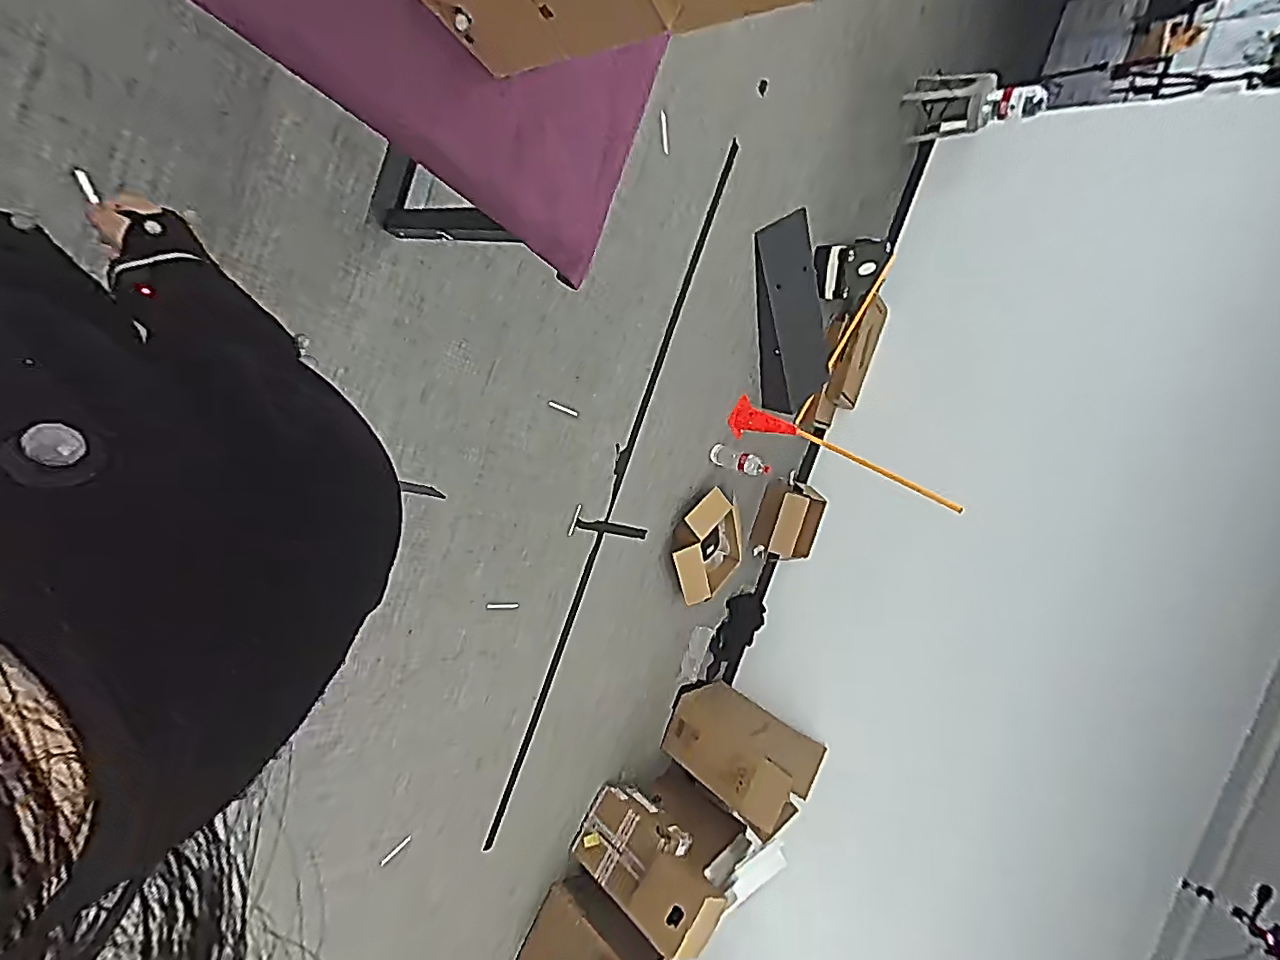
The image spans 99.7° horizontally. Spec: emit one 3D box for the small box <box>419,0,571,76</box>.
[{"bbox_3d":[-0.160,-0.642,0.656,0.168,0.176,0.179,21,91,-52],"label":"small box"}]

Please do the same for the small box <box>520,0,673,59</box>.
[{"bbox_3d":[-0.040,-0.590,0.557,0.168,0.176,0.179,25,86,-52],"label":"small box"}]
